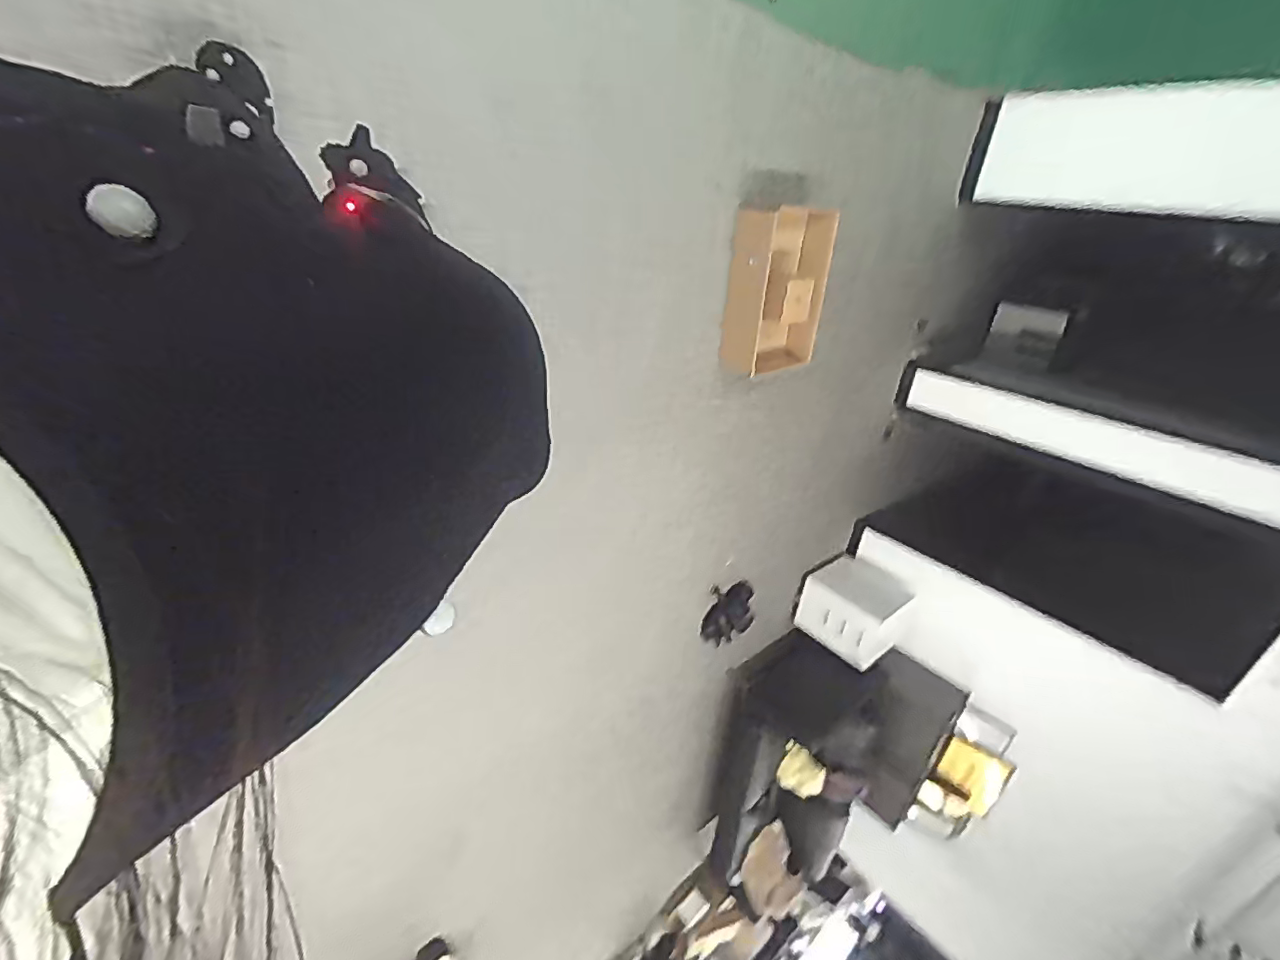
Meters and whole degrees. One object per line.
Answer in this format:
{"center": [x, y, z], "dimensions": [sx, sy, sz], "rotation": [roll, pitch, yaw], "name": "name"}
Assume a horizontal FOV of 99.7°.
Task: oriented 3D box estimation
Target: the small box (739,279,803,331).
{"center": [0.514, -0.697, 2.143], "dimensions": [0.179, 0.176, 0.168], "rotation": [-21, 128, -39], "name": "small box"}
